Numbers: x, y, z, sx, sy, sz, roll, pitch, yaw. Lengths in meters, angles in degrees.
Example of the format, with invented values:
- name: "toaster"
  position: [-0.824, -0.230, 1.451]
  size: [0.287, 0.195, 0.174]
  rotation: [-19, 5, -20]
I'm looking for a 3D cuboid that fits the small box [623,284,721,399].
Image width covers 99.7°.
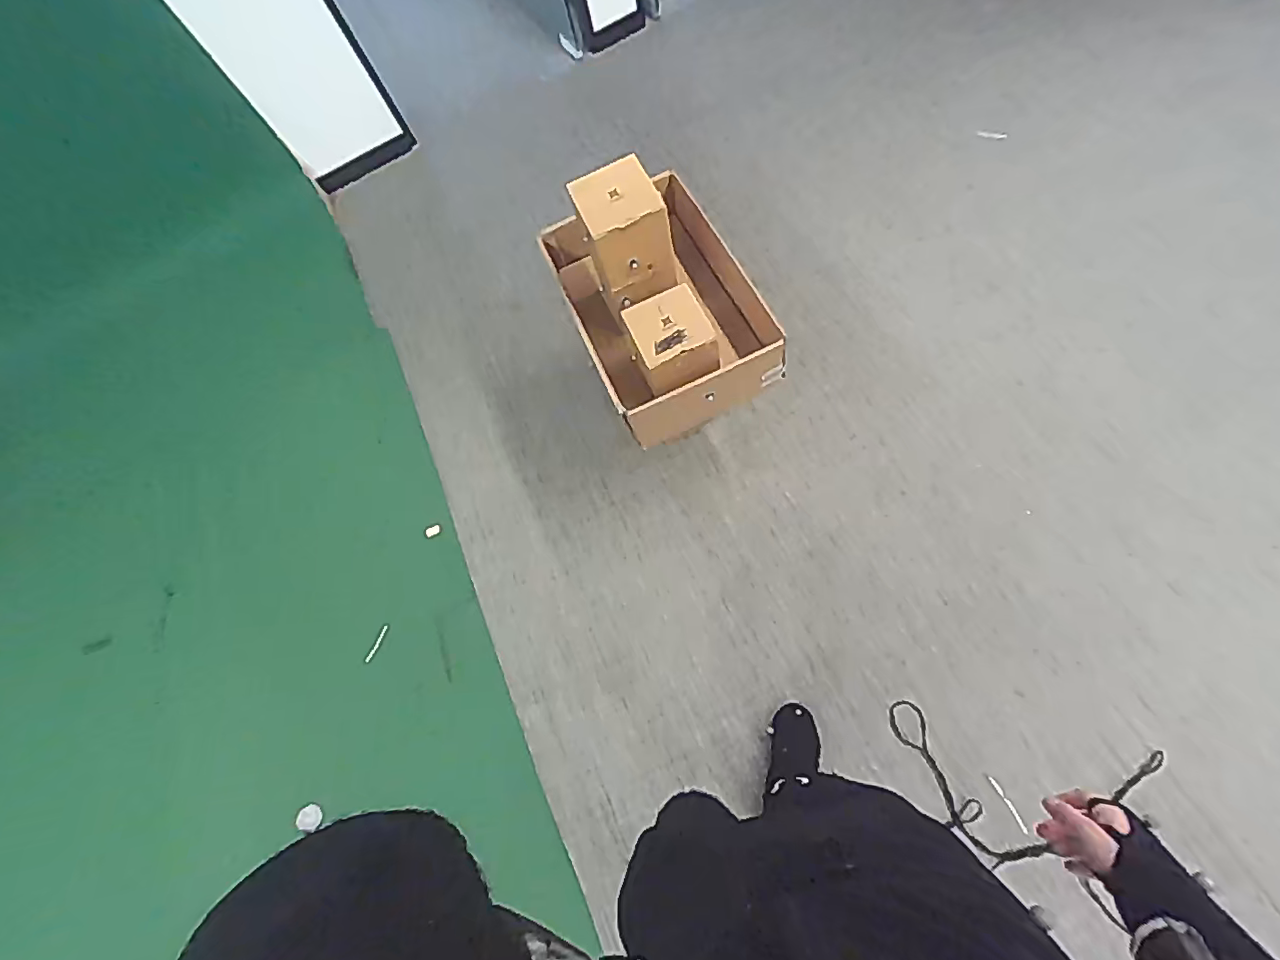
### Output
- name: "small box"
  position: [0.080, -0.310, 1.257]
  size: [0.168, 0.176, 0.179]
  rotation: [-24, 65, 1]

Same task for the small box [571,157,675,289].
- name: "small box"
  position: [-0.033, -0.567, 1.208]
  size: [0.168, 0.176, 0.179]
  rotation: [-24, 68, 0]
